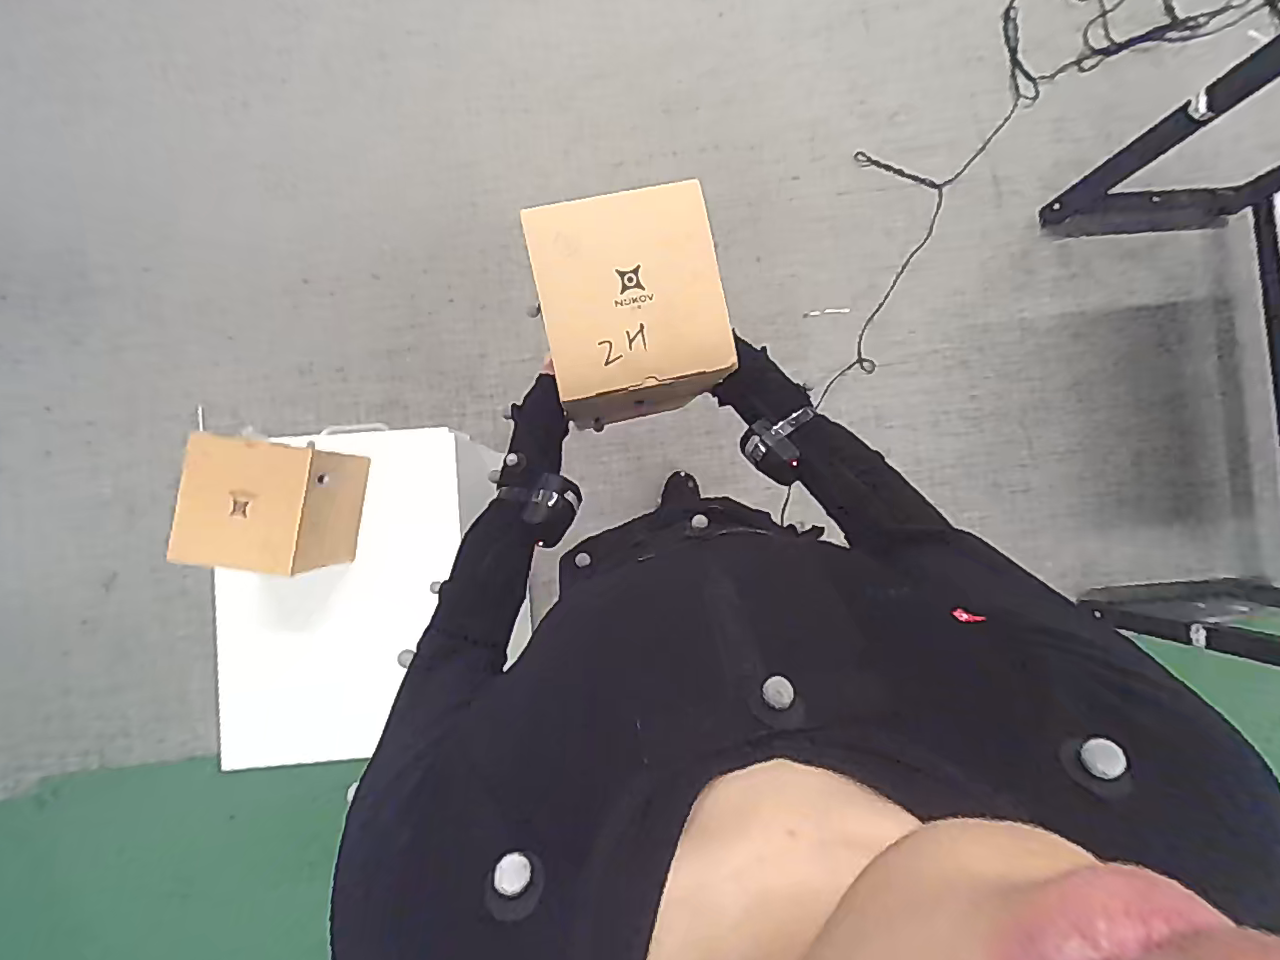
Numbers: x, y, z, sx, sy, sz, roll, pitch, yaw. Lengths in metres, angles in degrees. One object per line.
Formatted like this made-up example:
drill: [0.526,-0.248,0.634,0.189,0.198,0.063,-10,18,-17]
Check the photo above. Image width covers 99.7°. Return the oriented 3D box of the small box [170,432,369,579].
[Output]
small box: [-0.525,0.037,0.791,0.168,0.176,0.179,8,87,-1]

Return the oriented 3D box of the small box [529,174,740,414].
small box: [-0.011,-0.176,0.560,0.168,0.176,0.179,-11,91,-4]
